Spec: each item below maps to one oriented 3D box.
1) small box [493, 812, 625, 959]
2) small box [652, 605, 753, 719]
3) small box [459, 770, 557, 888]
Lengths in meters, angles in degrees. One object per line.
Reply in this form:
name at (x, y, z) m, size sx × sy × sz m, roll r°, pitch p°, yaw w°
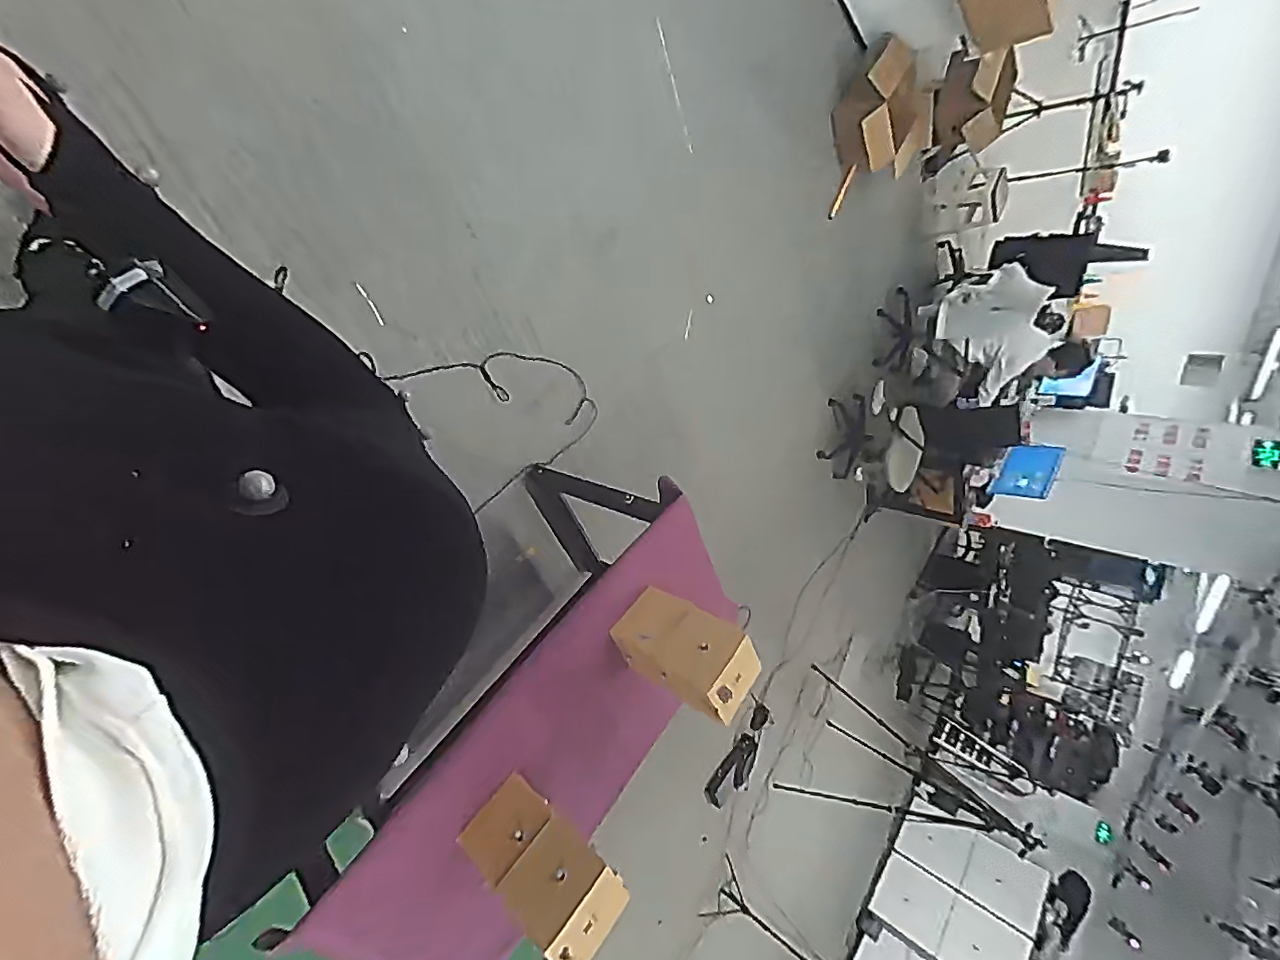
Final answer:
small box at (-0.164, 0.830, 1.108) m, size 0.179 × 0.176 × 0.168 m, roll -44°, pitch 130°, yaw -33°
small box at (0.150, 0.444, 1.340) m, size 0.179 × 0.176 × 0.168 m, roll -49°, pitch 133°, yaw -27°
small box at (-0.282, 0.807, 1.221) m, size 0.179 × 0.176 × 0.168 m, roll -44°, pitch 130°, yaw -33°
